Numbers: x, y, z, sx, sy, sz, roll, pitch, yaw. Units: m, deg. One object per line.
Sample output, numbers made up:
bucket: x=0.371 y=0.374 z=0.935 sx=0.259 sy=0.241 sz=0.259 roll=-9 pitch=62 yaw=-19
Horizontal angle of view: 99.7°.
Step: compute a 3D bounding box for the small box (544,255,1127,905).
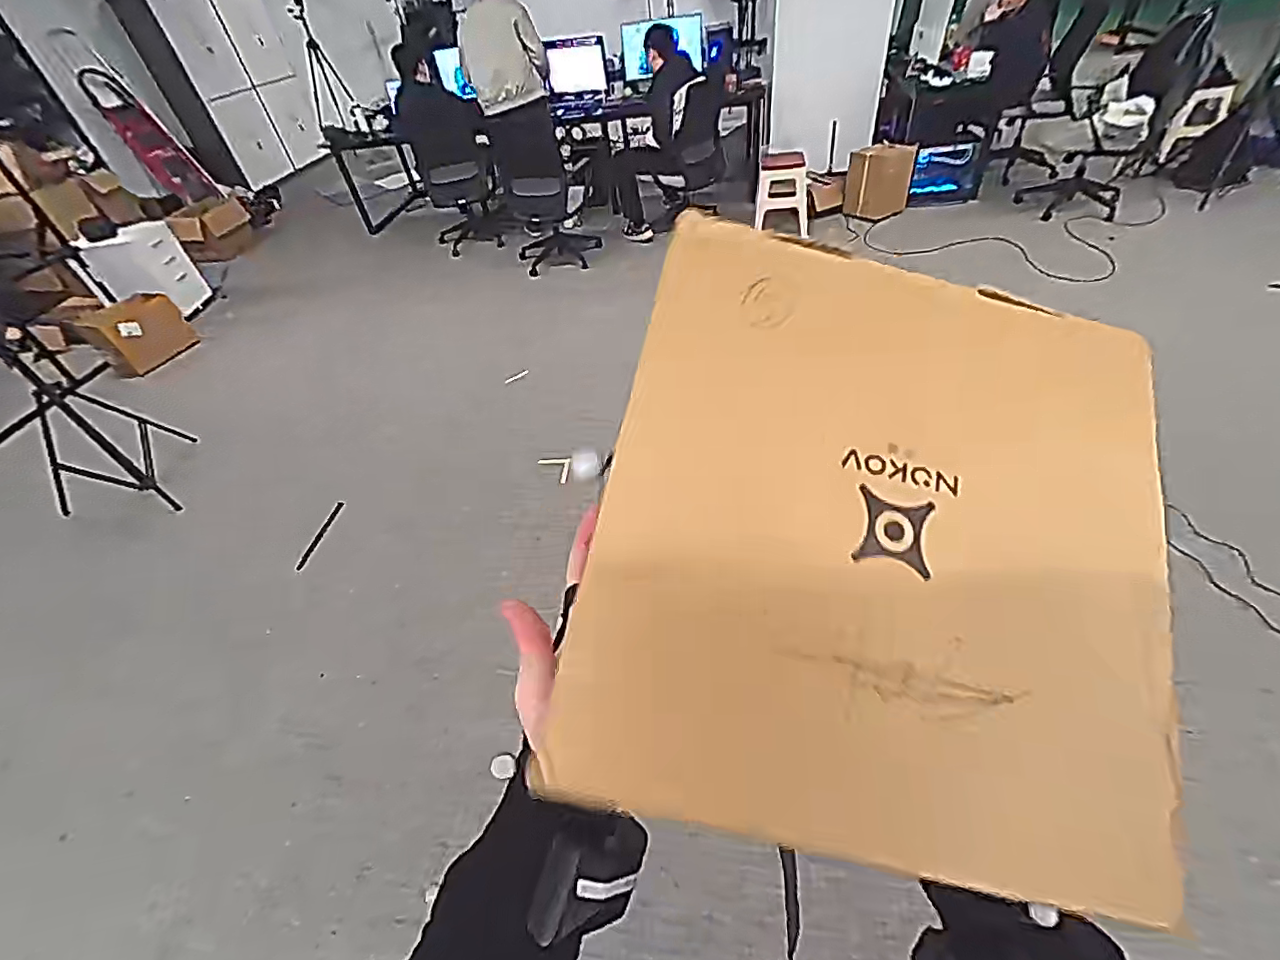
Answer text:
small box: x=0.060 y=0.040 z=0.245 sx=0.168 sy=0.176 sz=0.179 roll=12 pitch=73 yaw=-2
